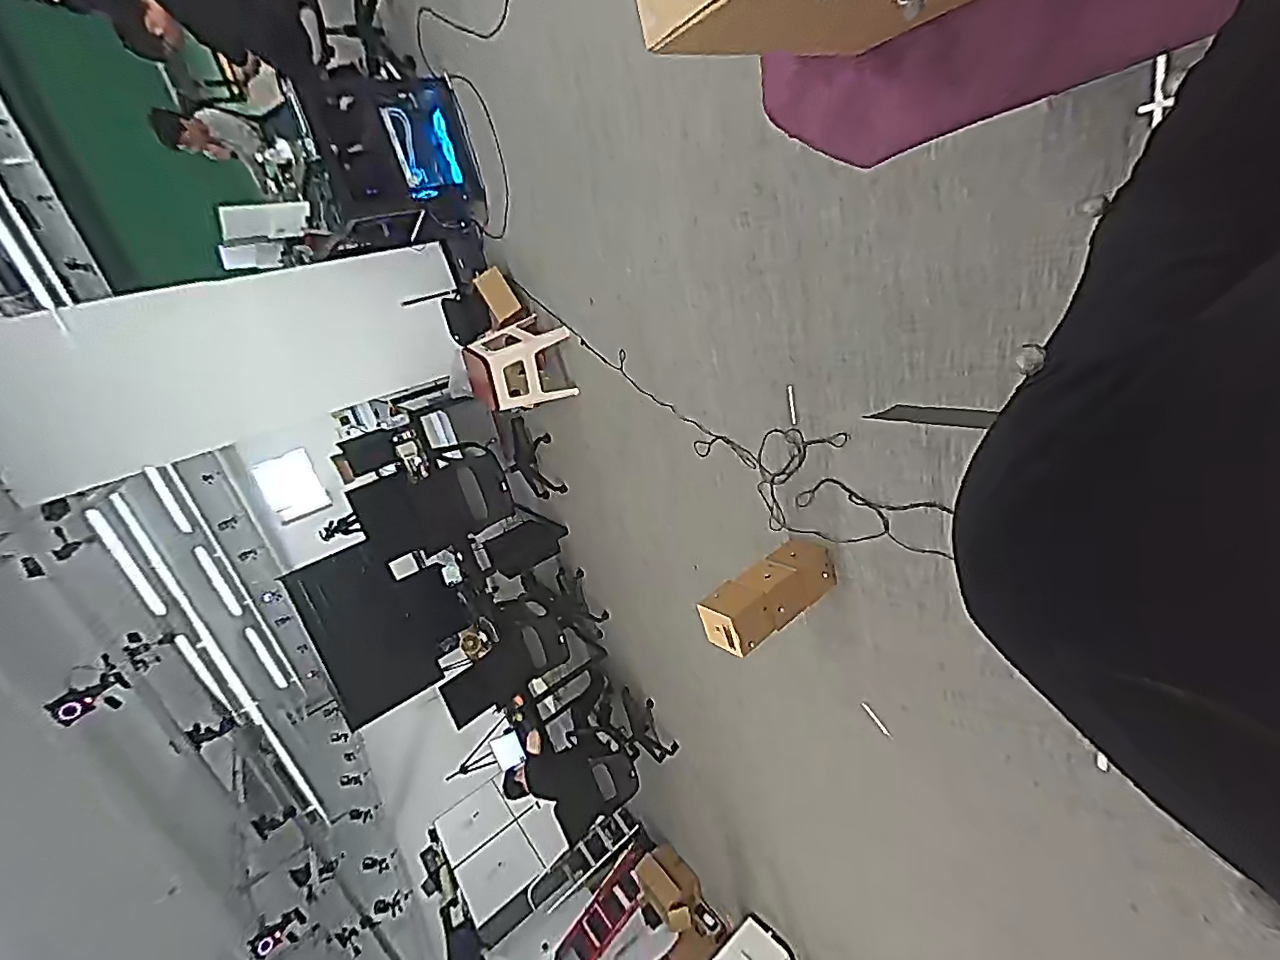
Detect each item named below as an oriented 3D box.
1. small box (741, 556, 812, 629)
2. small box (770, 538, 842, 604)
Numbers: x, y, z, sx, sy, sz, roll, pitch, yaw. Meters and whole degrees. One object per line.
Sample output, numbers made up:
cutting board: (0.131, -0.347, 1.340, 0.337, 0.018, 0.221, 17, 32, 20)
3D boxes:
small box: (0.494, 0.397, 1.945, 0.168, 0.176, 0.179, 10, 124, 55)
small box: (0.622, 0.334, 2.022, 0.179, 0.176, 0.168, 7, 121, 56)
